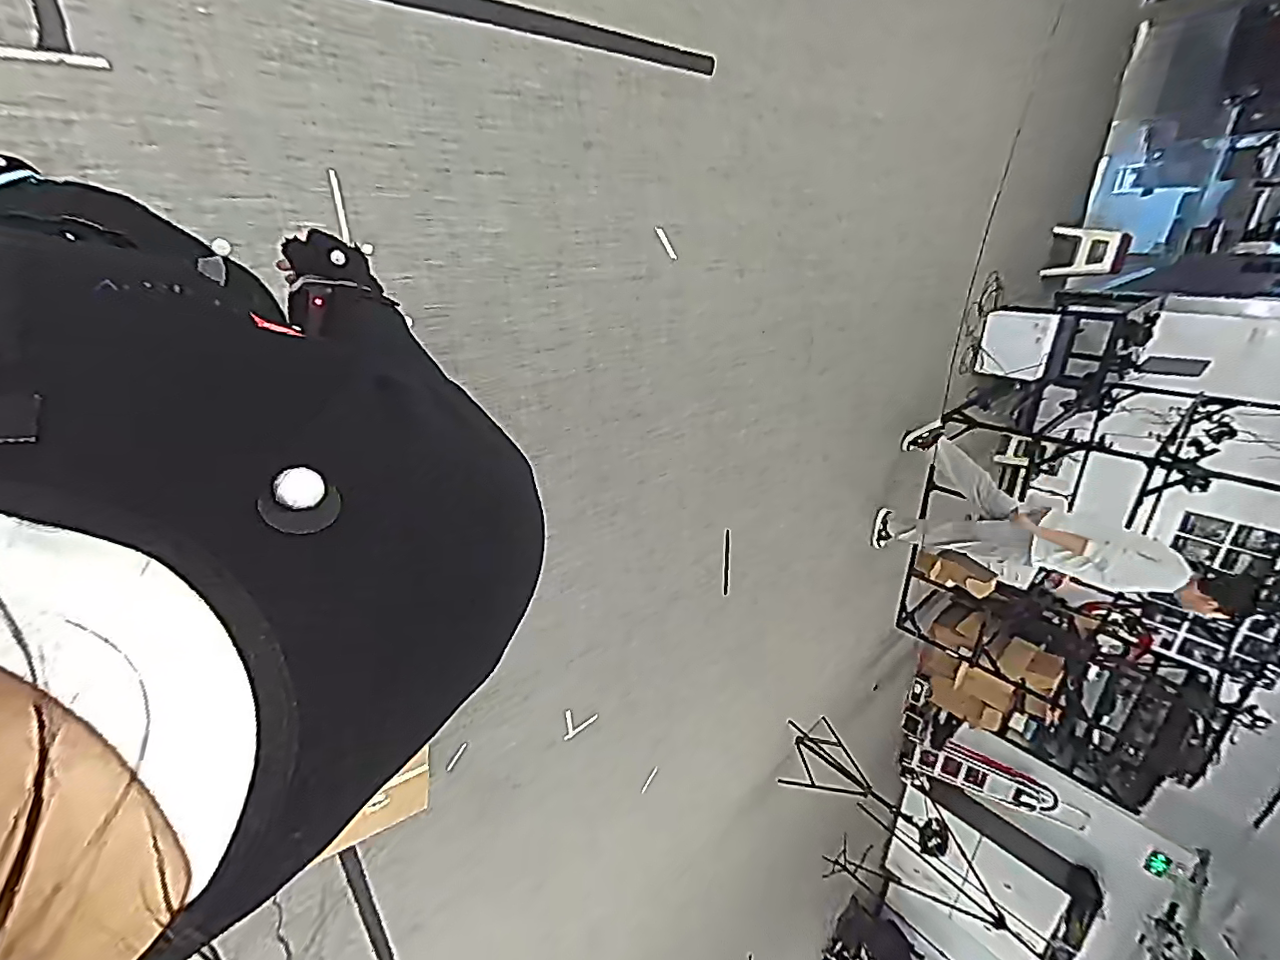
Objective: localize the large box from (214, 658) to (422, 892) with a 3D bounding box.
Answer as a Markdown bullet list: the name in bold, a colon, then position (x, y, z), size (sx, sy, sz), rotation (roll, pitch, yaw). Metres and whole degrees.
- **large box**: position (-0.838, 0.735, 1.425), size (0.408, 0.320, 0.320), rotation (-8, 114, -43)
